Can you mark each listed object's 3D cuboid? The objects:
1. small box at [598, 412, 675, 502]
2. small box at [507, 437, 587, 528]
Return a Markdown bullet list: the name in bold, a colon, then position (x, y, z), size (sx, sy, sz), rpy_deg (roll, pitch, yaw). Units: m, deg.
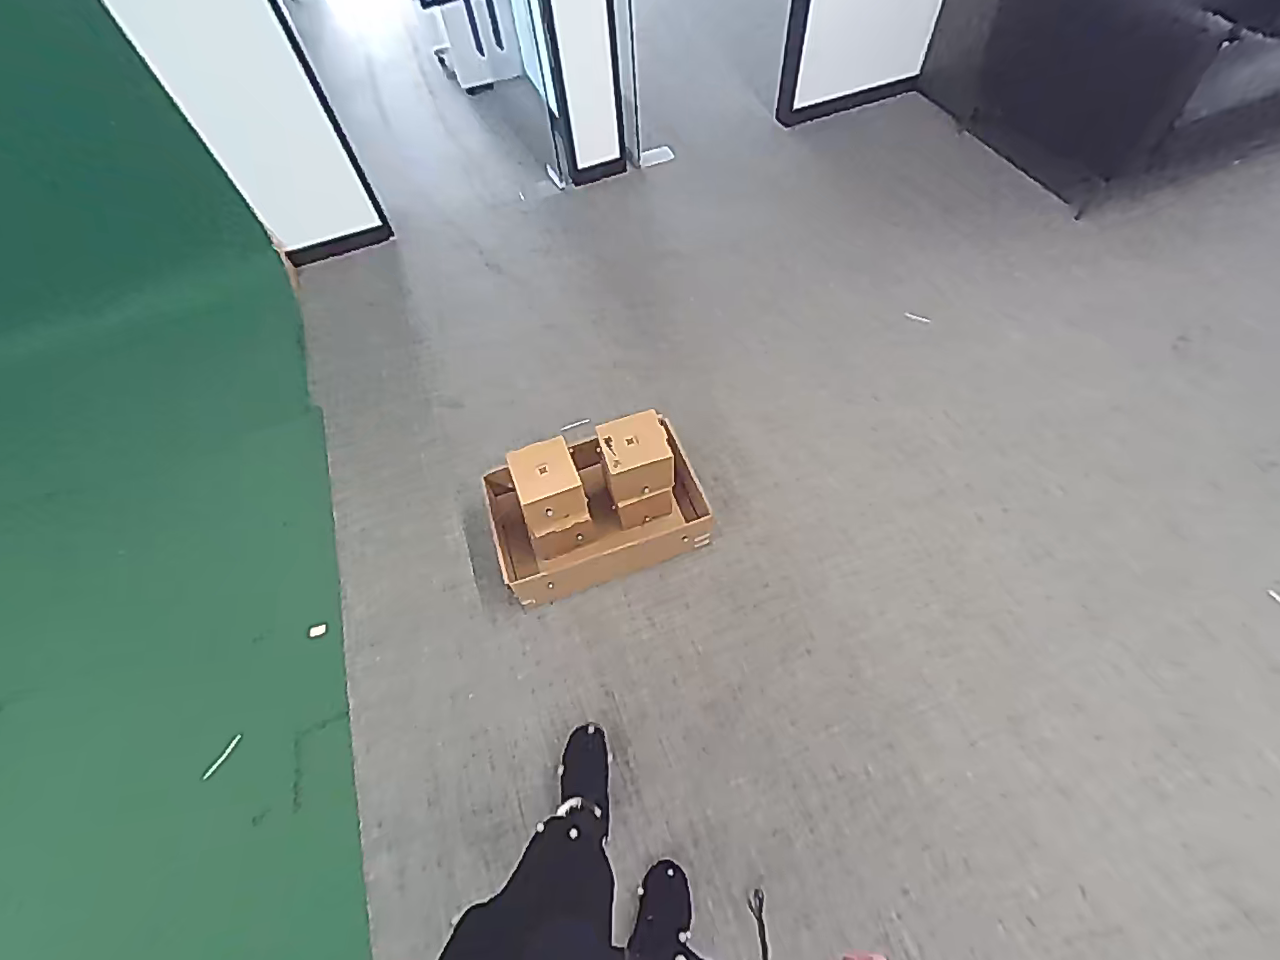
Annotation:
- **small box**: position (-0.009, -0.060, 1.523), size (0.179, 0.176, 0.168), rpy_deg (-16, 60, -6)
- **small box**: position (-0.253, 0.016, 1.499), size (0.168, 0.176, 0.179), rpy_deg (-19, 59, -10)
